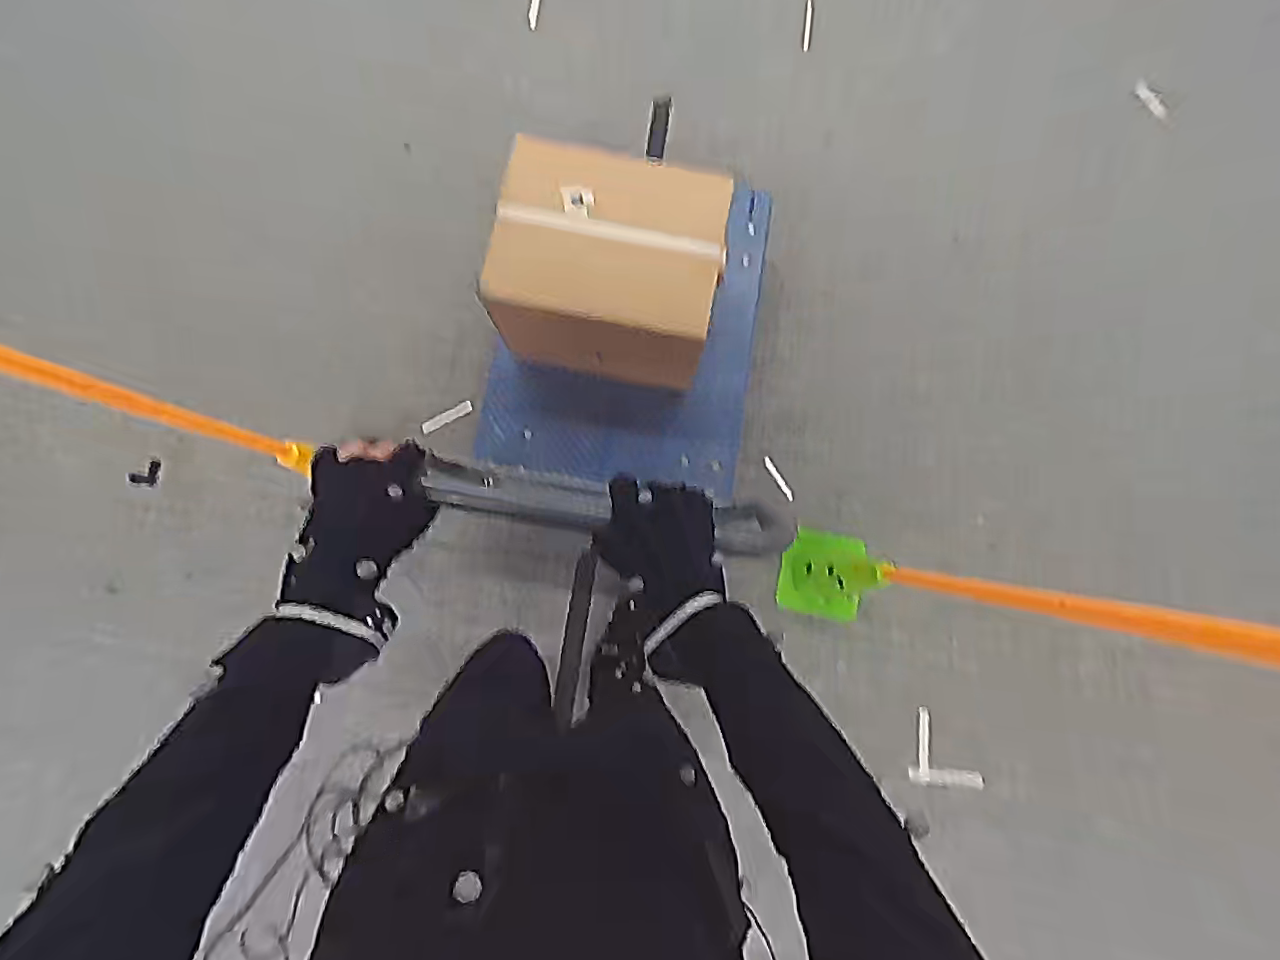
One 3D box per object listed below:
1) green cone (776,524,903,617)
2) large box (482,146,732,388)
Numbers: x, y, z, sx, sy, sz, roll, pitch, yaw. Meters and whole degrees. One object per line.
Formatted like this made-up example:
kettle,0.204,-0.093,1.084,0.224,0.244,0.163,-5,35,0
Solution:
green cone,0.450,0.198,1.163,0.202,0.368,0.200,12,81,0
large box,-0.053,-0.406,1.105,0.408,0.320,0.320,11,82,1
